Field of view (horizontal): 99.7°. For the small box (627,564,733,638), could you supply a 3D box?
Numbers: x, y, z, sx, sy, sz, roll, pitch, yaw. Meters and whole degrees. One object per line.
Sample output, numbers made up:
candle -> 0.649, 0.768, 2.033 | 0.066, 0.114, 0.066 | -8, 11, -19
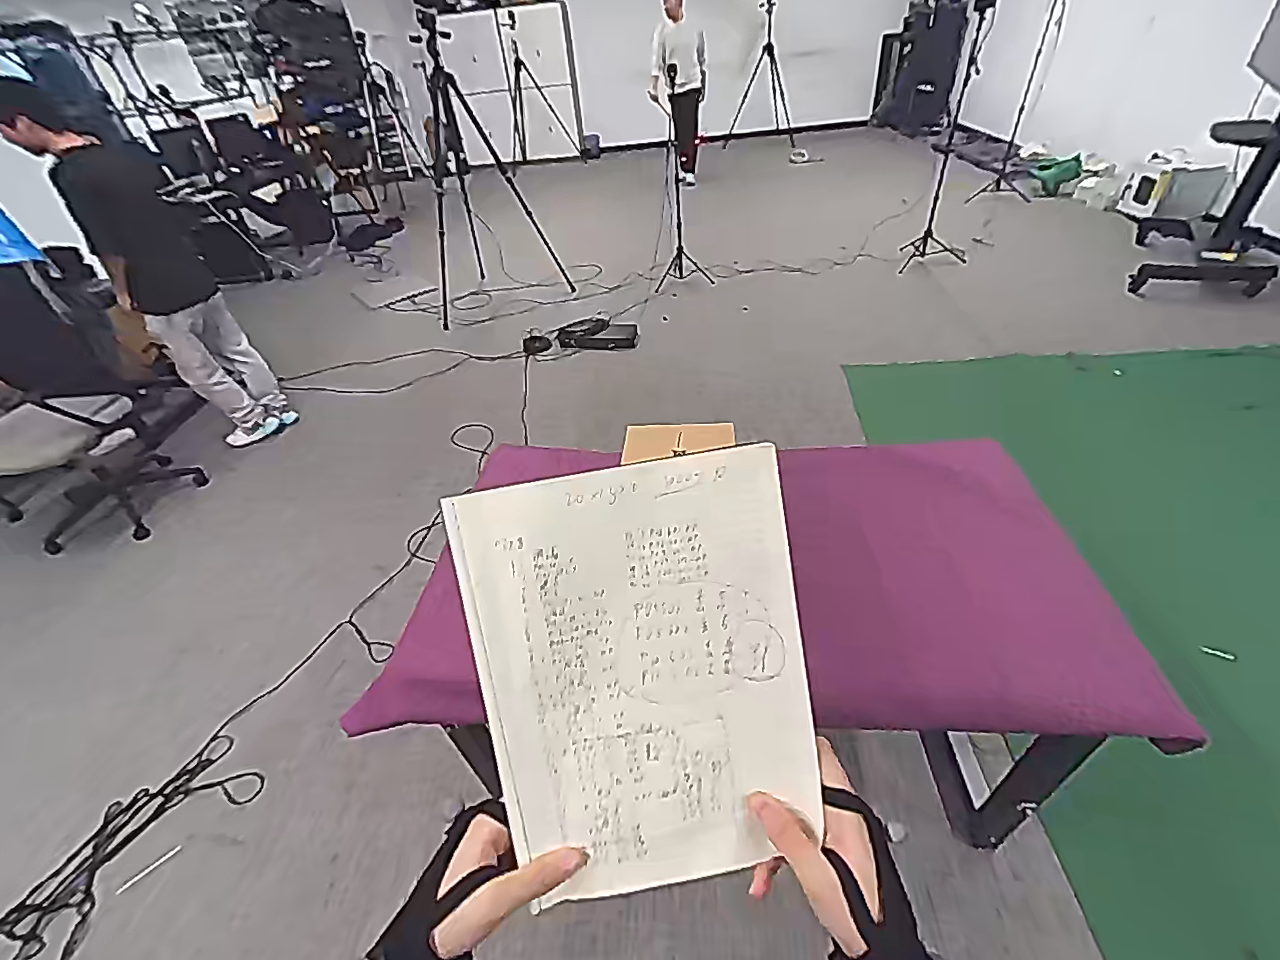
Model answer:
small box -> 0.076, 0.155, 0.935 | 0.168, 0.176, 0.179 | 0, 41, 7

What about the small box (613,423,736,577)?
small box -> 0.061, 0.032, 0.824 | 0.168, 0.176, 0.179 | 0, 39, 7
